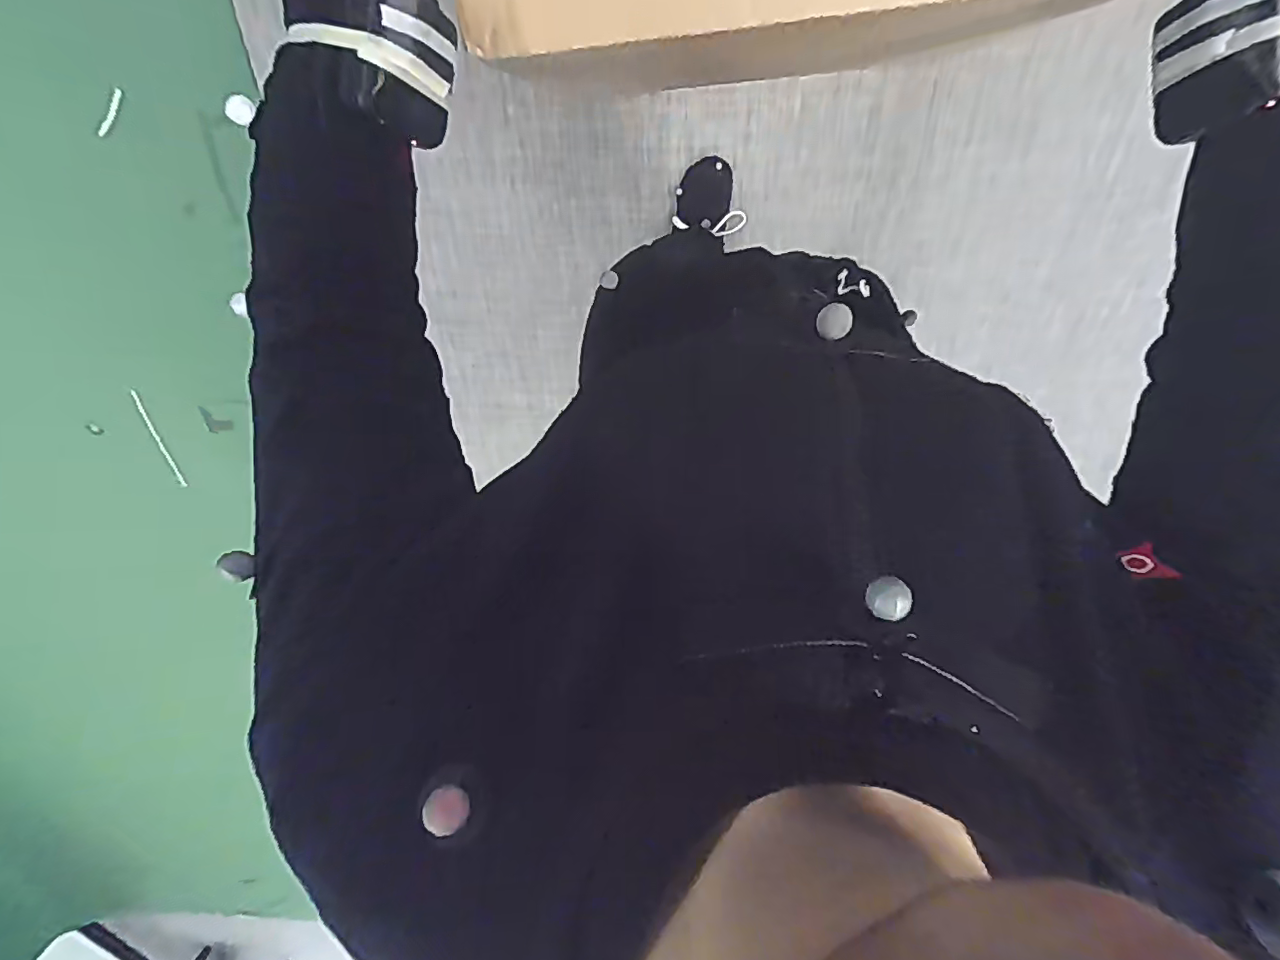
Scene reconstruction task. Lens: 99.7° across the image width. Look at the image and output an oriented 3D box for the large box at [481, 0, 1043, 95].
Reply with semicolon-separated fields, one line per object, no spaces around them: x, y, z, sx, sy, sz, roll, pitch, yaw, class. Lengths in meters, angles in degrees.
0.092;-0.479;0.356;0.408;0.320;0.320;-4;122;5;large box
